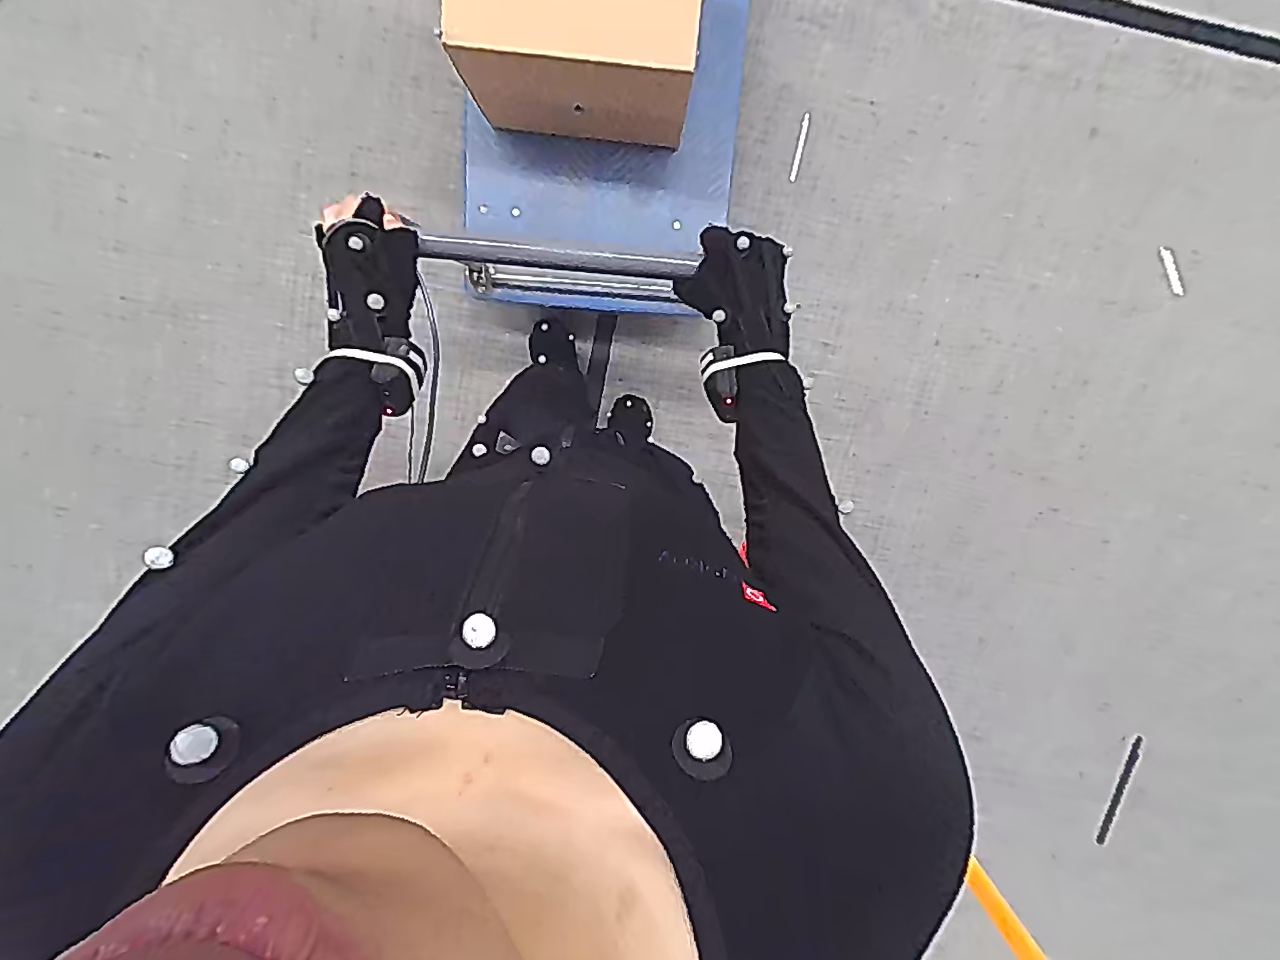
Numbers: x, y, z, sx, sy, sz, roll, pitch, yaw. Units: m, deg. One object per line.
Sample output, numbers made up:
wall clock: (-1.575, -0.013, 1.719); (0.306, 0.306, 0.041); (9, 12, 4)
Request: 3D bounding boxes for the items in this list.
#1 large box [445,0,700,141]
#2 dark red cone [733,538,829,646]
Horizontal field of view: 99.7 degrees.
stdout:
large box: (-0.099, -0.847, 0.973); (0.408, 0.320, 0.320); (5, 102, -1)
dark red cone: (0.375, 0.300, 1.342); (0.201, 0.394, 0.202); (10, 102, -5)
